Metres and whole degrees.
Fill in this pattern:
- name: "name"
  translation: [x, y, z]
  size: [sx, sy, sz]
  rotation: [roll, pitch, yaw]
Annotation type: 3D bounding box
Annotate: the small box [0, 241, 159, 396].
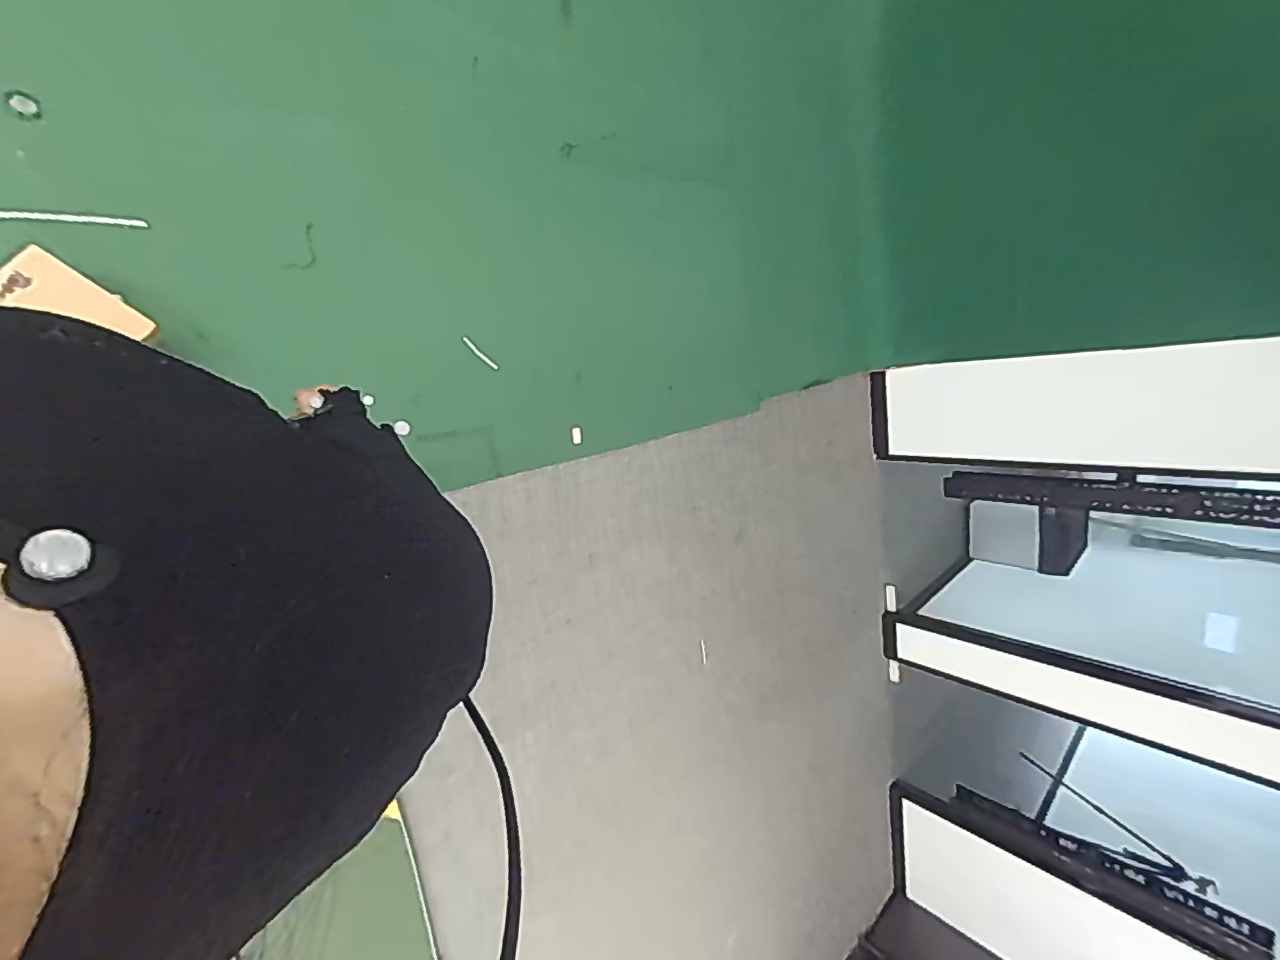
- name: "small box"
  translation: [-0.952, -0.258, 0.898]
  size: [0.179, 0.176, 0.168]
  rotation: [44, 68, -36]
